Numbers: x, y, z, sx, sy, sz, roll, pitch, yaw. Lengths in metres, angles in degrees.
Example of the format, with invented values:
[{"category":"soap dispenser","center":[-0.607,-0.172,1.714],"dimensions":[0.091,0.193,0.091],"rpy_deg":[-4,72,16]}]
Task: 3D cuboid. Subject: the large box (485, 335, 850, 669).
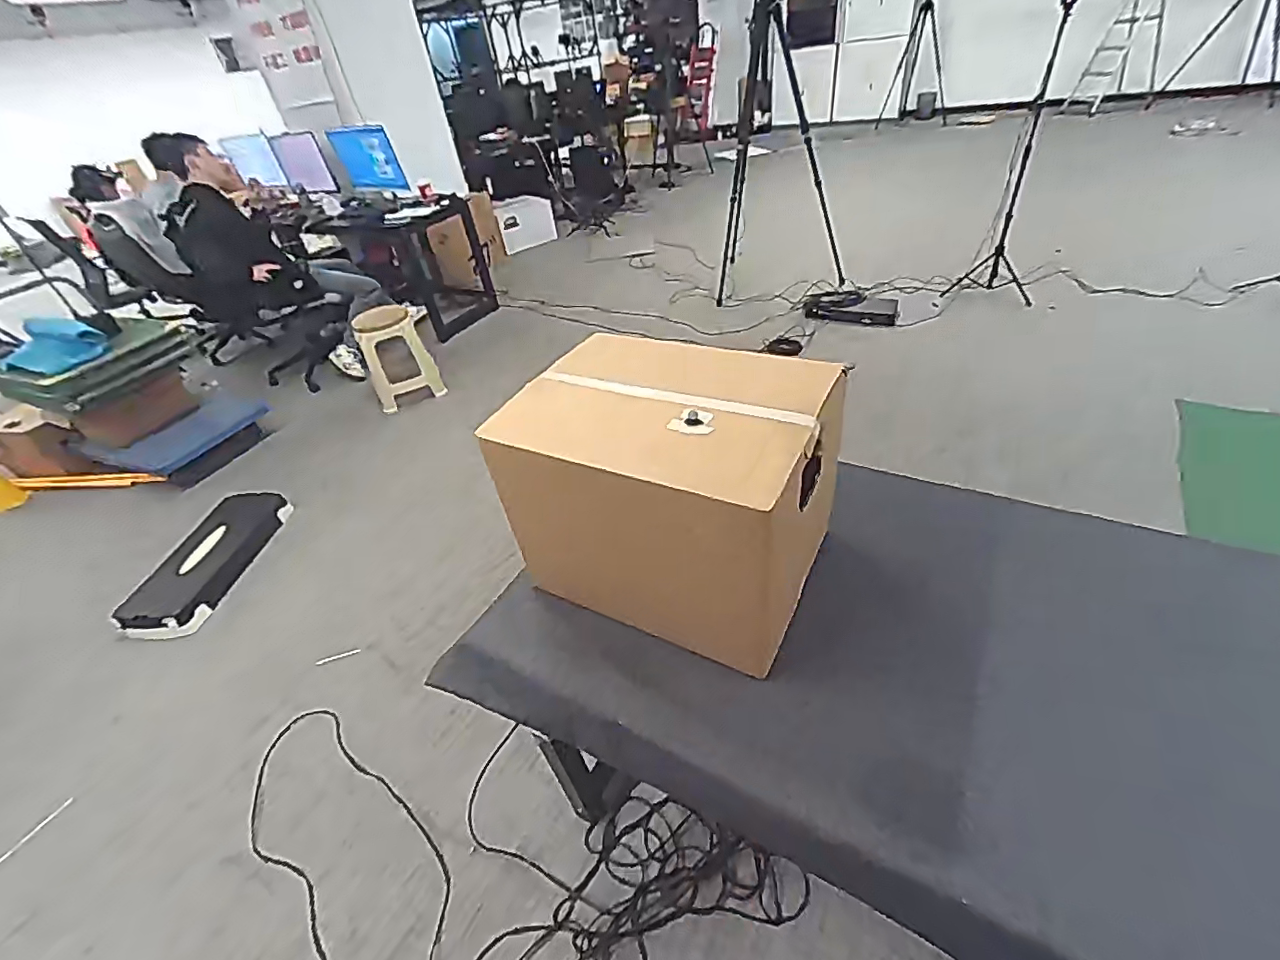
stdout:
[{"category":"large box","center":[0.053,0.010,0.809],"dimensions":[0.408,0.320,0.320],"rpy_deg":[15,46,25]}]
